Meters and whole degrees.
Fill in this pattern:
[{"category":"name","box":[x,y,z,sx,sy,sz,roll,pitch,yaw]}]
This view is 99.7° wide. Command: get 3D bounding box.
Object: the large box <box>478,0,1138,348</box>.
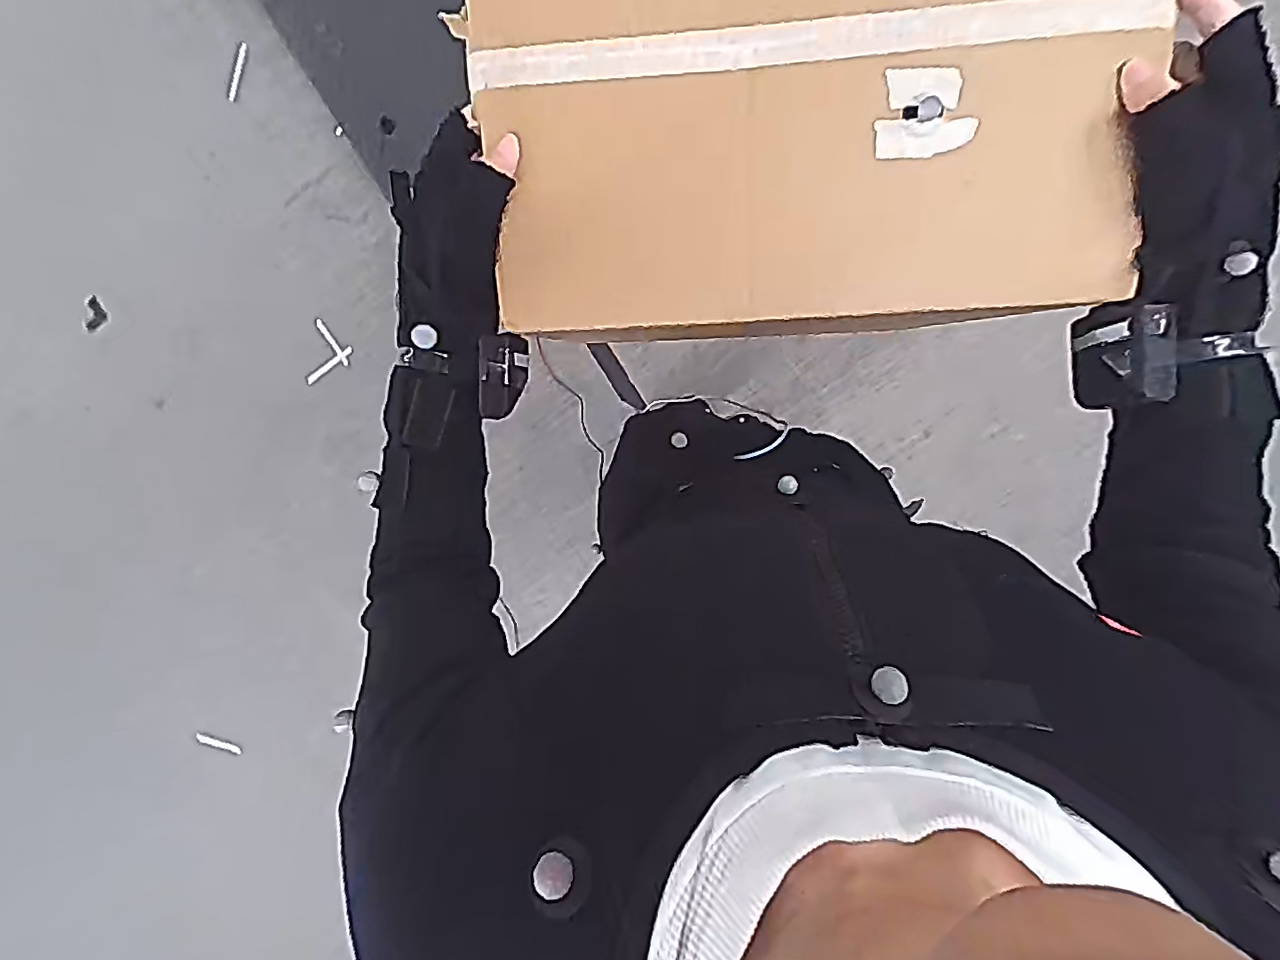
[{"category":"large box","box":[0.105,-0.296,0.481,0.408,0.320,0.320,-3,103,3]}]
